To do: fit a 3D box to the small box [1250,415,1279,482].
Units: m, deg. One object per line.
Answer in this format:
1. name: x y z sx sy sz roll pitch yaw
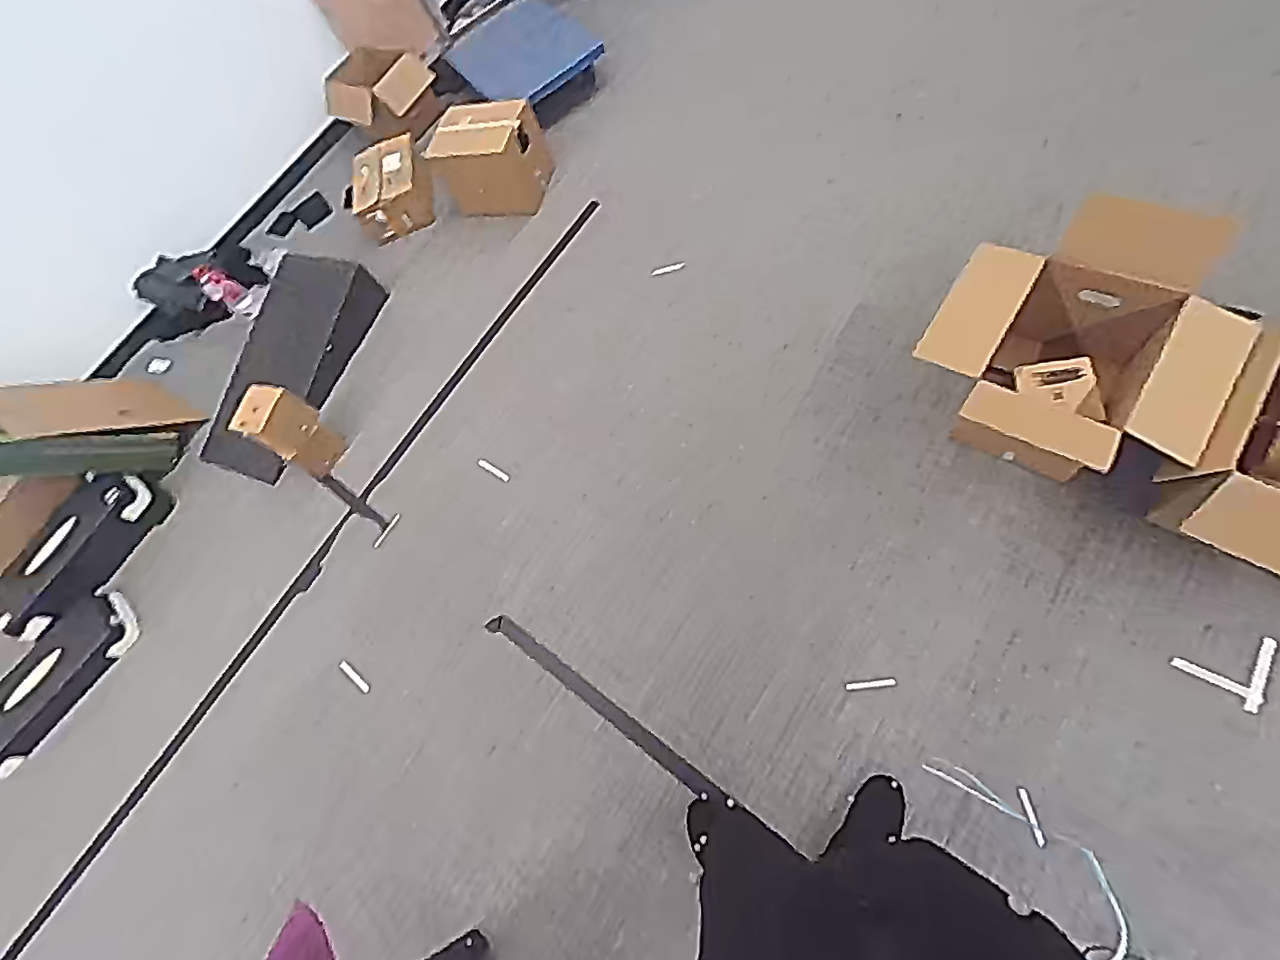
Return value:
1. small box: 1.406 -0.071 1.073 0.179 0.176 0.168 31 81 25
